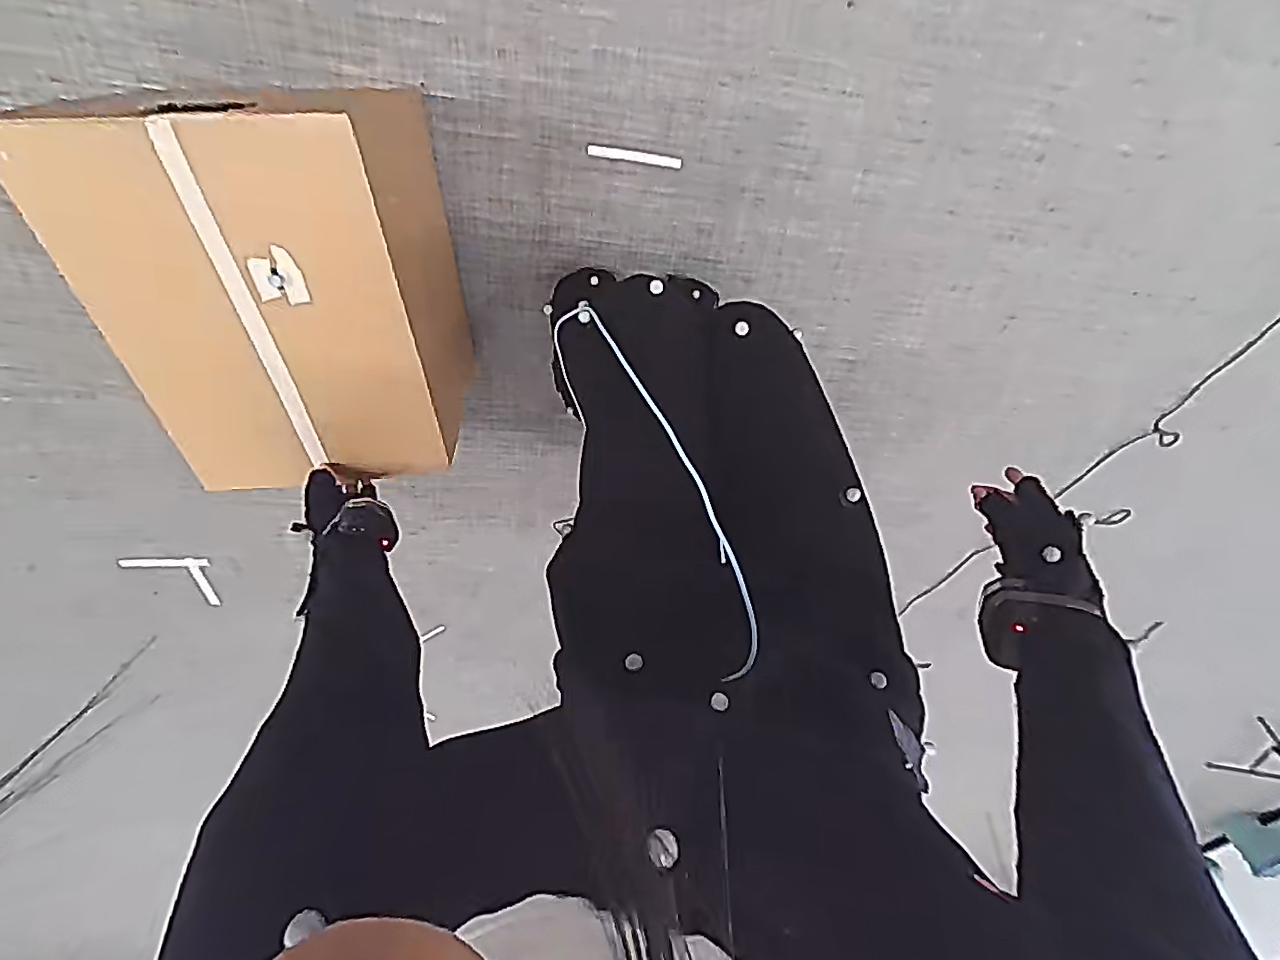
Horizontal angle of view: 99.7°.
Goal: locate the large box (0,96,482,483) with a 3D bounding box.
[{"bbox_3d":[-0.420,-0.254,0.716,0.320,0.320,0.408,-5,128,-5],"label":"large box"}]
